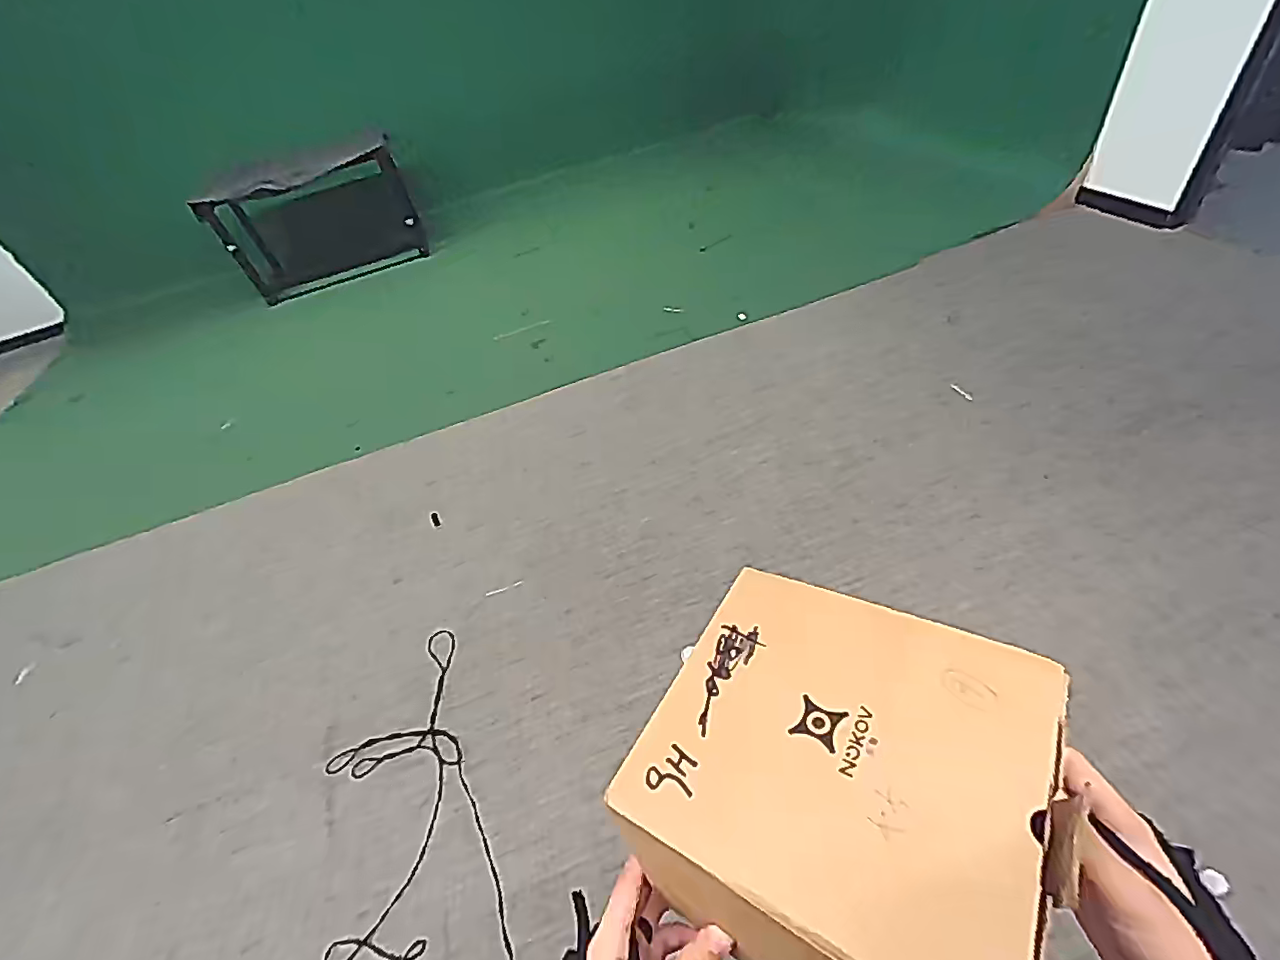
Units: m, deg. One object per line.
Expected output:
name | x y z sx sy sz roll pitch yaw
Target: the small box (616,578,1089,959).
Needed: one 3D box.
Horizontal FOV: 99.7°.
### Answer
small box | 0.117 0.193 0.310 0.179 0.176 0.168 16 45 34
